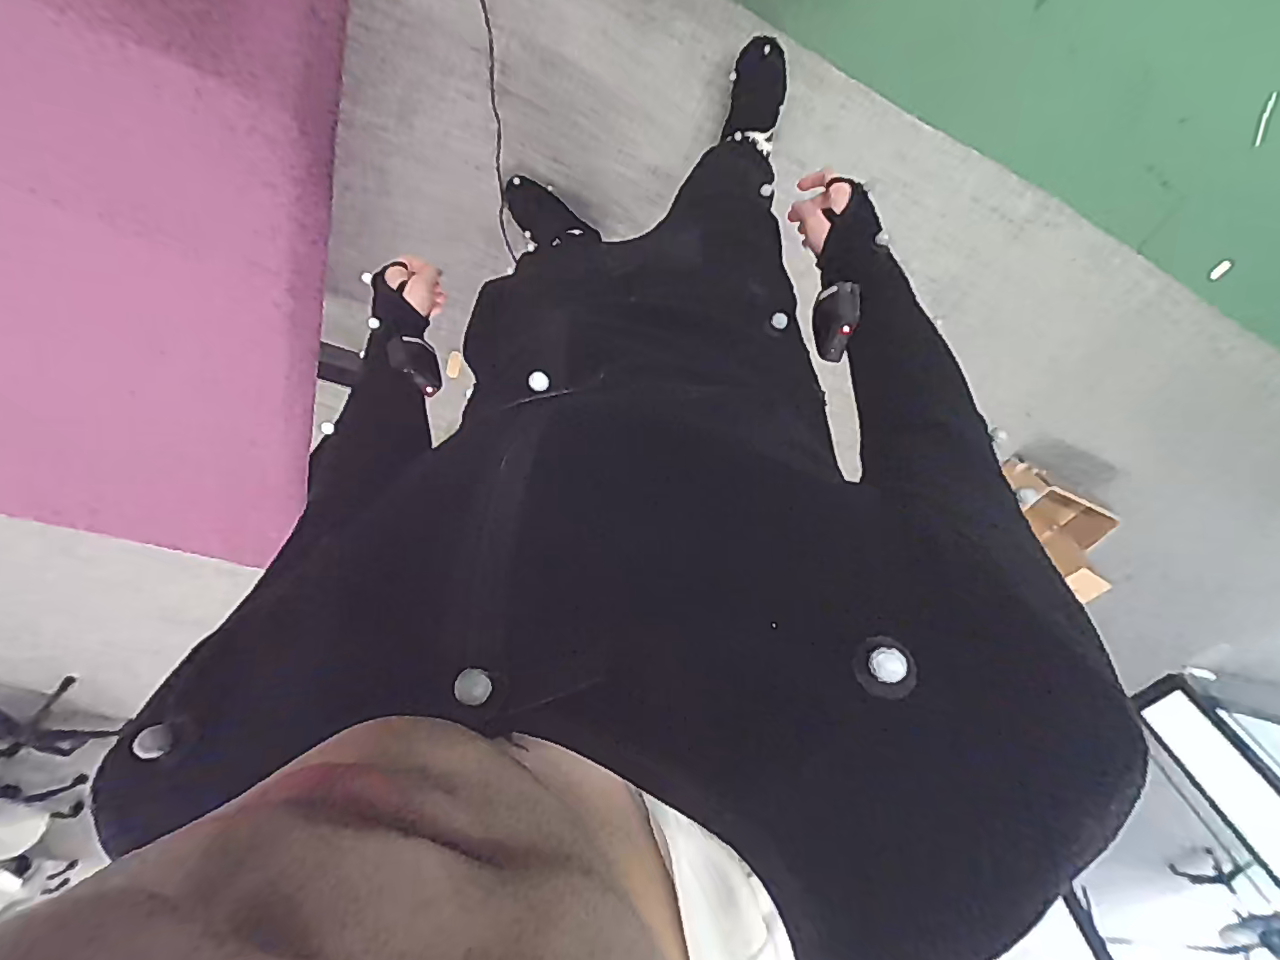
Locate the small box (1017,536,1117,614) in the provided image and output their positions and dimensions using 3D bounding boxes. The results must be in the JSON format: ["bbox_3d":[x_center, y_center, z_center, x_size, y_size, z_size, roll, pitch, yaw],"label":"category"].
[{"bbox_3d":[1.437,0.318,1.827,0.179,0.176,0.168,27,123,-20],"label":"small box"}]

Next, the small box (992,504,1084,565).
[{"bbox_3d":[1.429,0.213,1.952,0.179,0.176,0.168,23,125,-18],"label":"small box"}]
